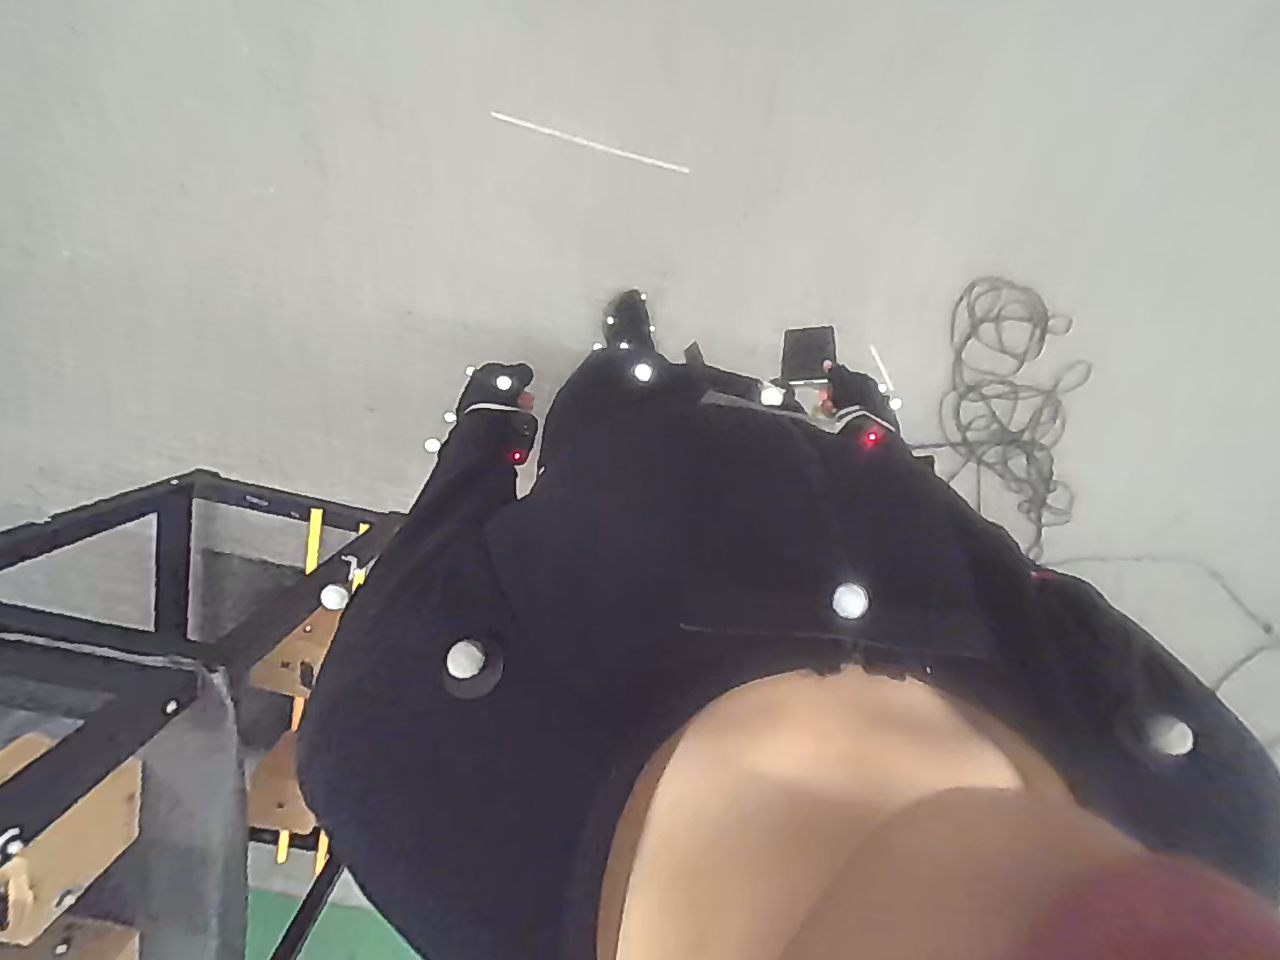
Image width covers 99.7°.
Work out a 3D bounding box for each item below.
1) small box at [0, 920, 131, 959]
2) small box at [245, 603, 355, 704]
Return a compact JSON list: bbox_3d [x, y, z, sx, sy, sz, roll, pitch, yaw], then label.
[{"bbox_3d":[-0.968,0.860,0.859,0.168,0.176,0.179,16,104,-6],"label":"small box"},{"bbox_3d":[-0.866,0.440,1.394,0.179,0.176,0.168,17,104,-6],"label":"small box"}]
